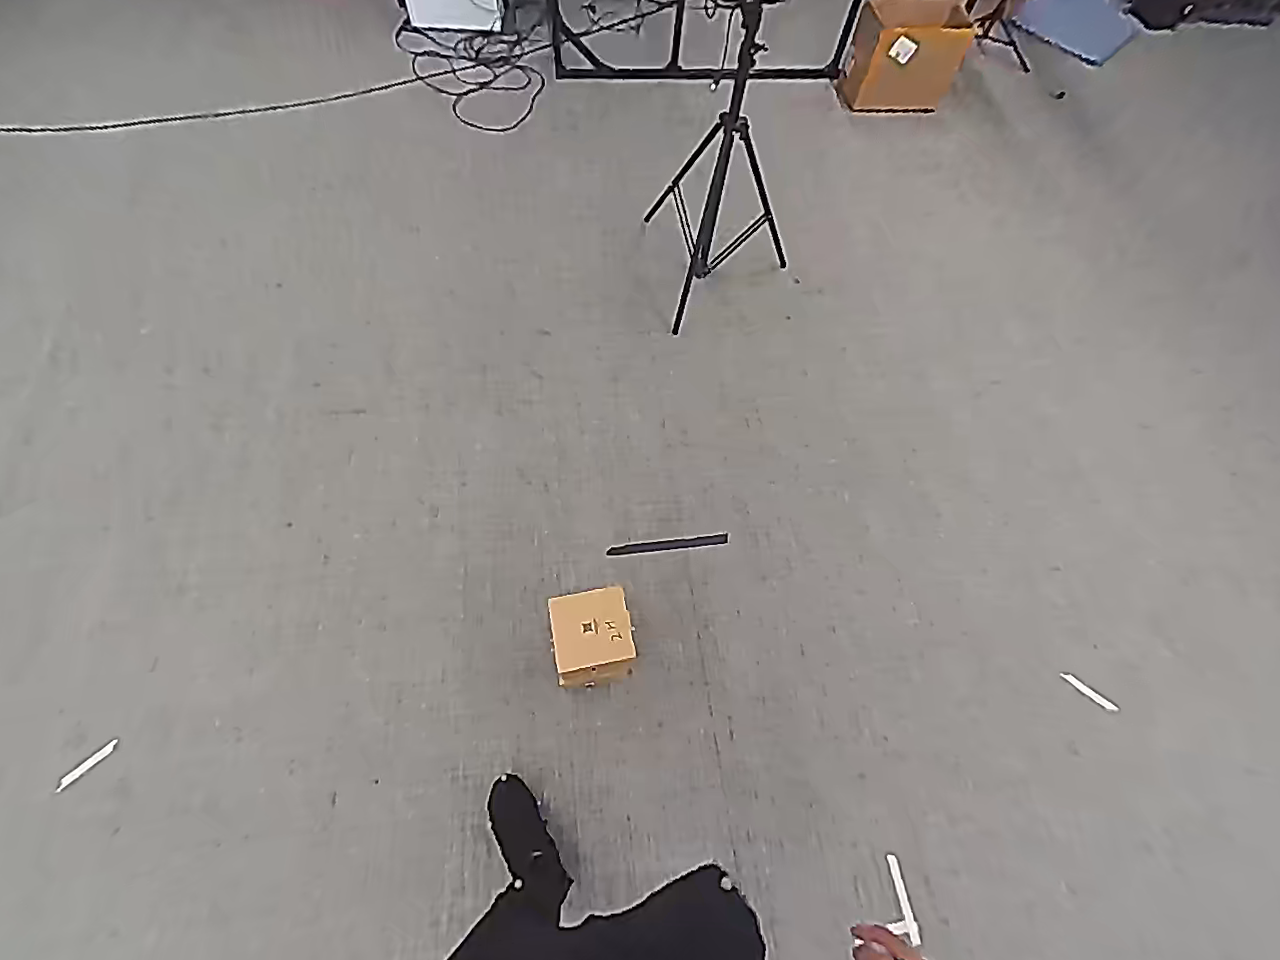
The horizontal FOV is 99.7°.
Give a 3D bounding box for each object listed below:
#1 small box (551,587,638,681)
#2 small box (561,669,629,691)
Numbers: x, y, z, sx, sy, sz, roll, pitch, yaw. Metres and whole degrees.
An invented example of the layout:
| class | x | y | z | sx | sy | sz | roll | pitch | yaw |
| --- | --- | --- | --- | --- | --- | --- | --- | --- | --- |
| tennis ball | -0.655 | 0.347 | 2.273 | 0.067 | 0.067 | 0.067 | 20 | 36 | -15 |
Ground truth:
| class | x | y | z | sx | sy | sz | roll | pitch | yaw |
| --- | --- | --- | --- | --- | --- | --- | --- | --- | --- |
| small box | -0.105 | 0.364 | 1.267 | 0.179 | 0.176 | 0.168 | -9 | 65 | -7 |
| small box | -0.125 | 0.440 | 1.411 | 0.168 | 0.176 | 0.179 | -8 | 65 | -7 |
